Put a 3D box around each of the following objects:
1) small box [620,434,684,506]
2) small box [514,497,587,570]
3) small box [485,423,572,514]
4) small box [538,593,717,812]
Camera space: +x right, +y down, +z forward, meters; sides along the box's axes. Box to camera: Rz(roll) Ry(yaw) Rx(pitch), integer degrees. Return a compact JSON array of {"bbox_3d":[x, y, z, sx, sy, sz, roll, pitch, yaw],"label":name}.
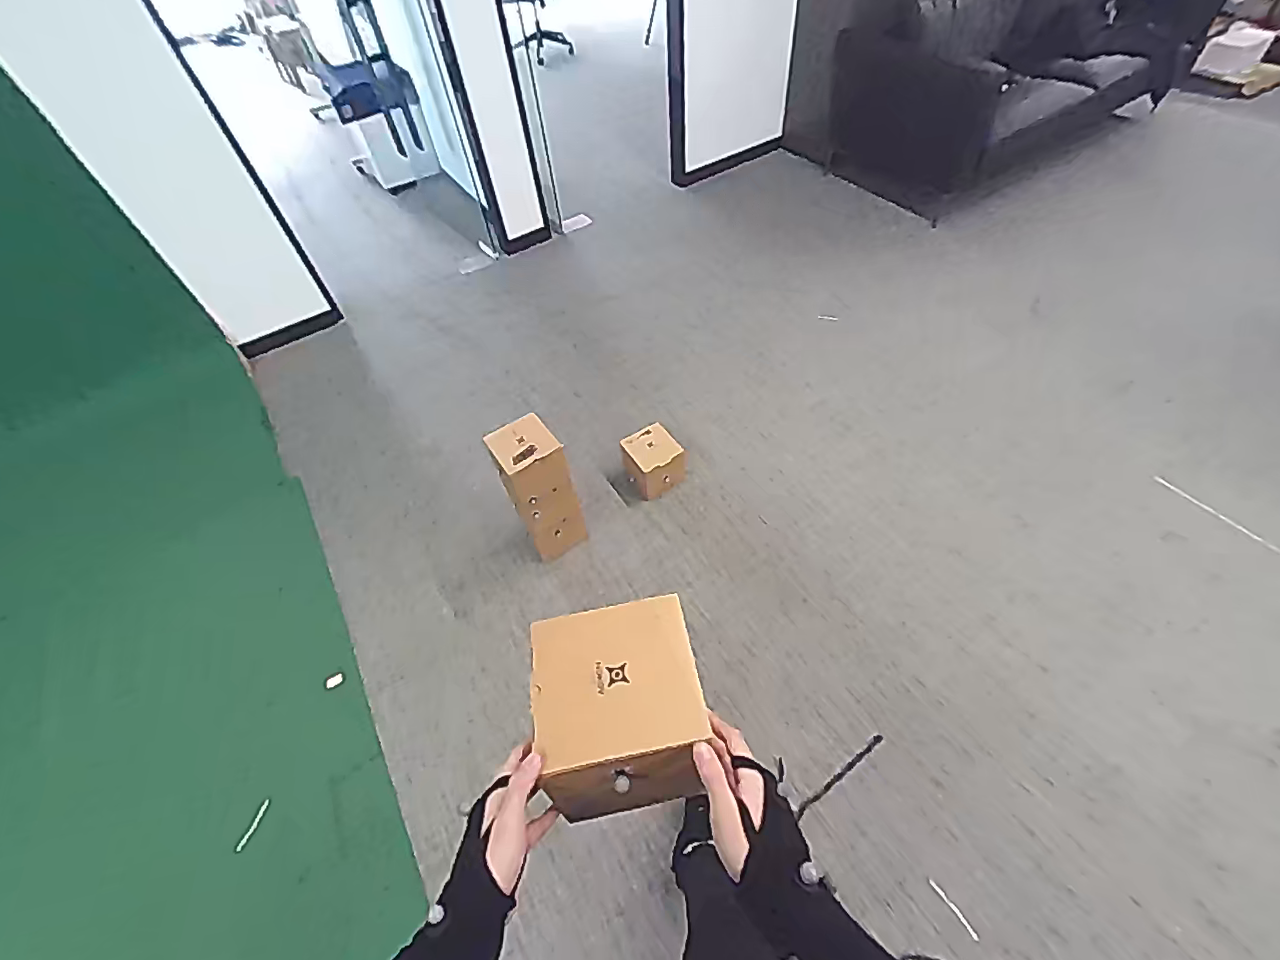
[{"bbox_3d":[0.048,-0.028,1.947,0.168,0.176,0.179,-27,55,-17],"label":"small box"},{"bbox_3d":[-0.296,0.171,1.820,0.179,0.176,0.168,-29,55,-17],"label":"small box"},{"bbox_3d":[-0.316,-0.026,1.558,0.168,0.176,0.179,-31,54,-18],"label":"small box"},{"bbox_3d":[-0.013,0.260,0.629,0.179,0.176,0.168,-12,43,-1],"label":"small box"}]
